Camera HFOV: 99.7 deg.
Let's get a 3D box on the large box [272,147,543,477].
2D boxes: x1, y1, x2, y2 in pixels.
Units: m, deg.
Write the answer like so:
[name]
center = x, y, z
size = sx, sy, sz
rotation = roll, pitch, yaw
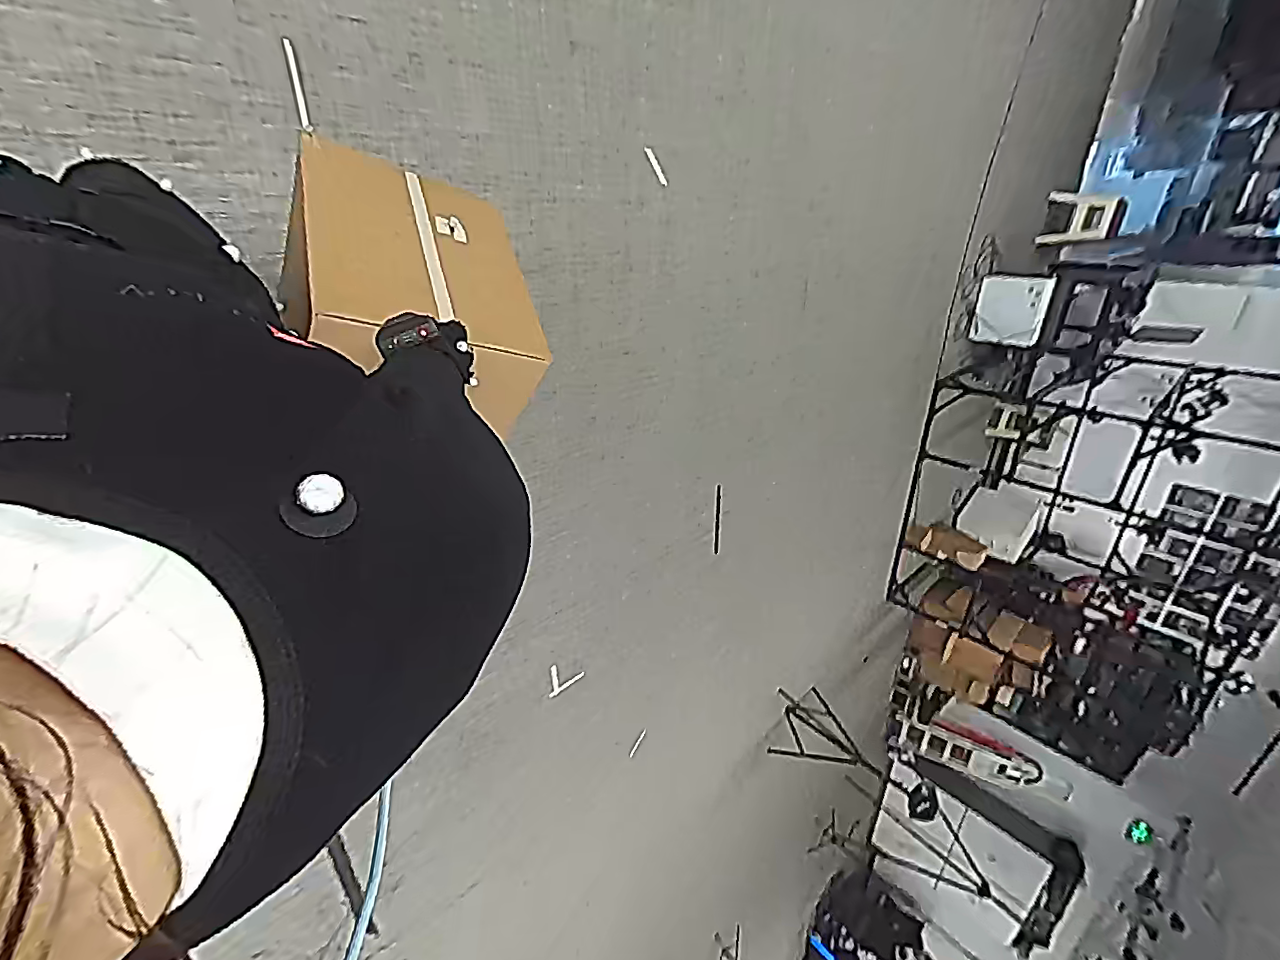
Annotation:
[large box]
center = -0.412, -0.252, 0.908
size = 0.320, 0.408, 0.320
rotation = 3, 141, -40
